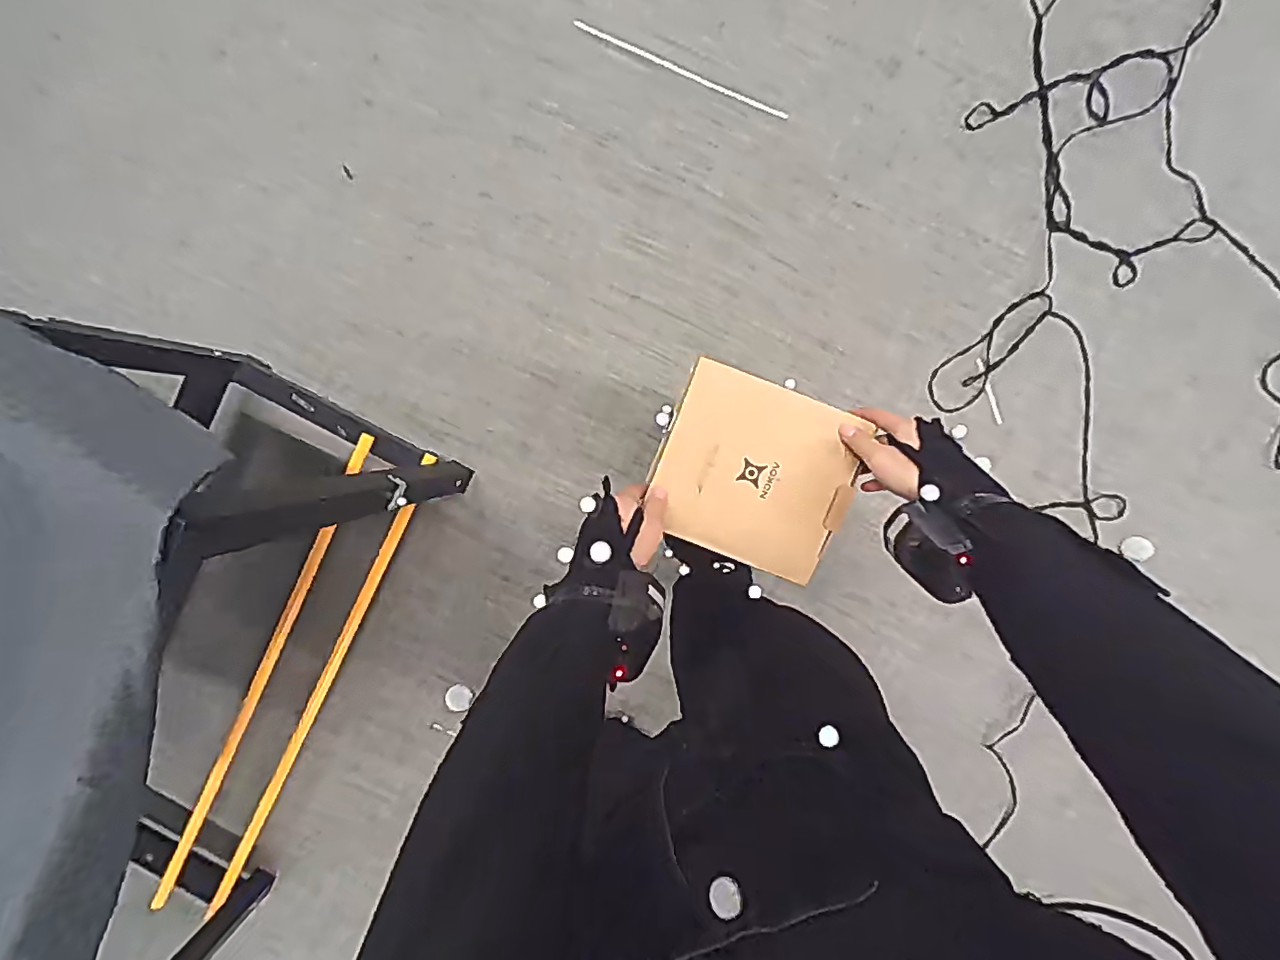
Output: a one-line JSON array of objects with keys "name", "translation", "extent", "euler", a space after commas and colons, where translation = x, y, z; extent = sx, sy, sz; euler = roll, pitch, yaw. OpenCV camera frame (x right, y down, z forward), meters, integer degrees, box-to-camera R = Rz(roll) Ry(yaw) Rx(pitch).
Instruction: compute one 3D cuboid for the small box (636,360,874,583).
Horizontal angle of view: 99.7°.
[{"name": "small box", "translation": [0.109, -0.016, 0.579], "extent": [0.179, 0.176, 0.168], "euler": [21, 98, 1]}]
